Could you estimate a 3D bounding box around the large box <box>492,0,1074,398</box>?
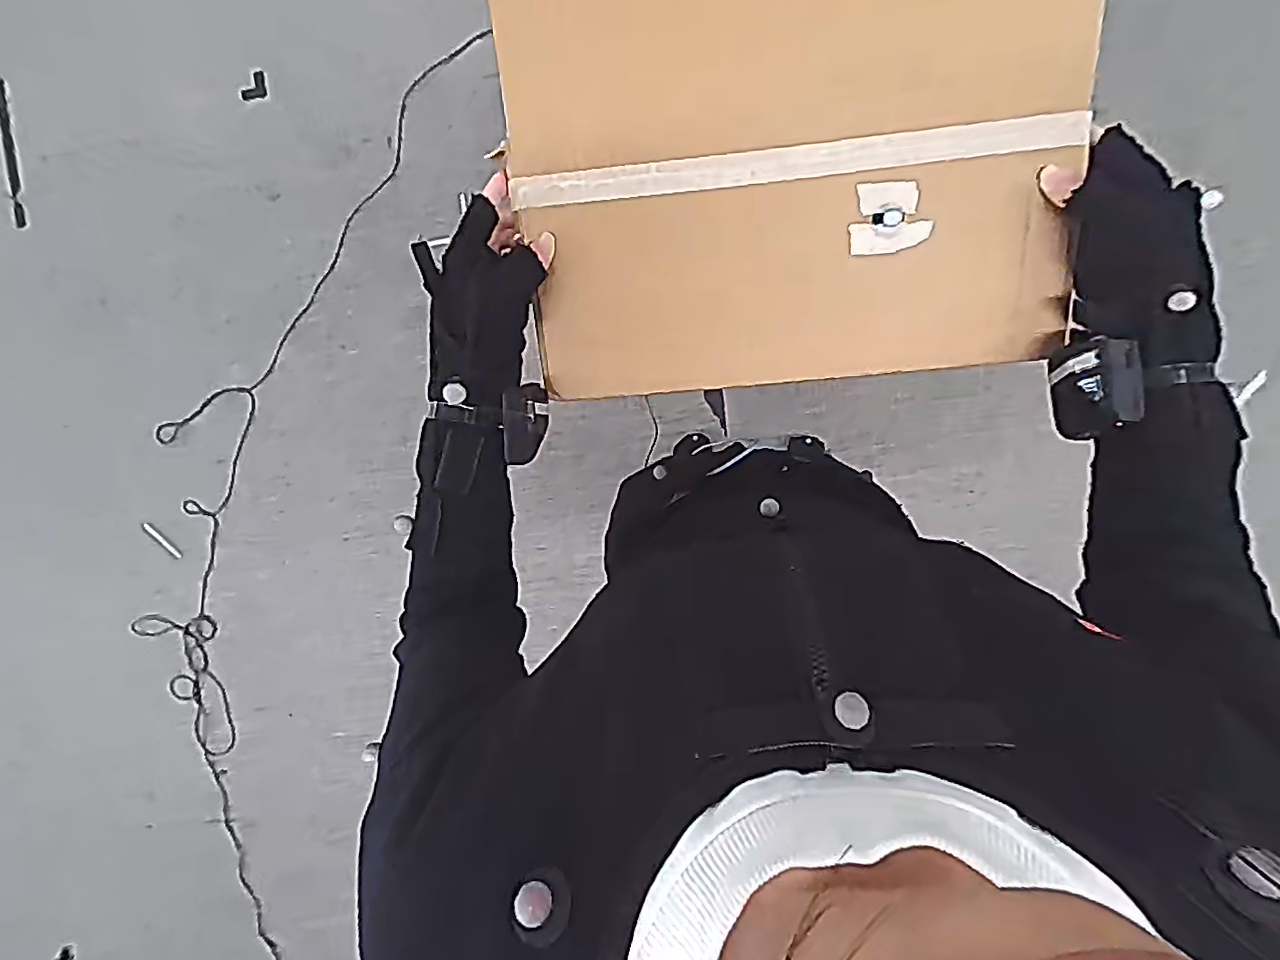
[{"bbox_3d":[0.111,-0.276,0.547,0.408,0.320,0.320,-5,107,3],"label":"large box"}]
